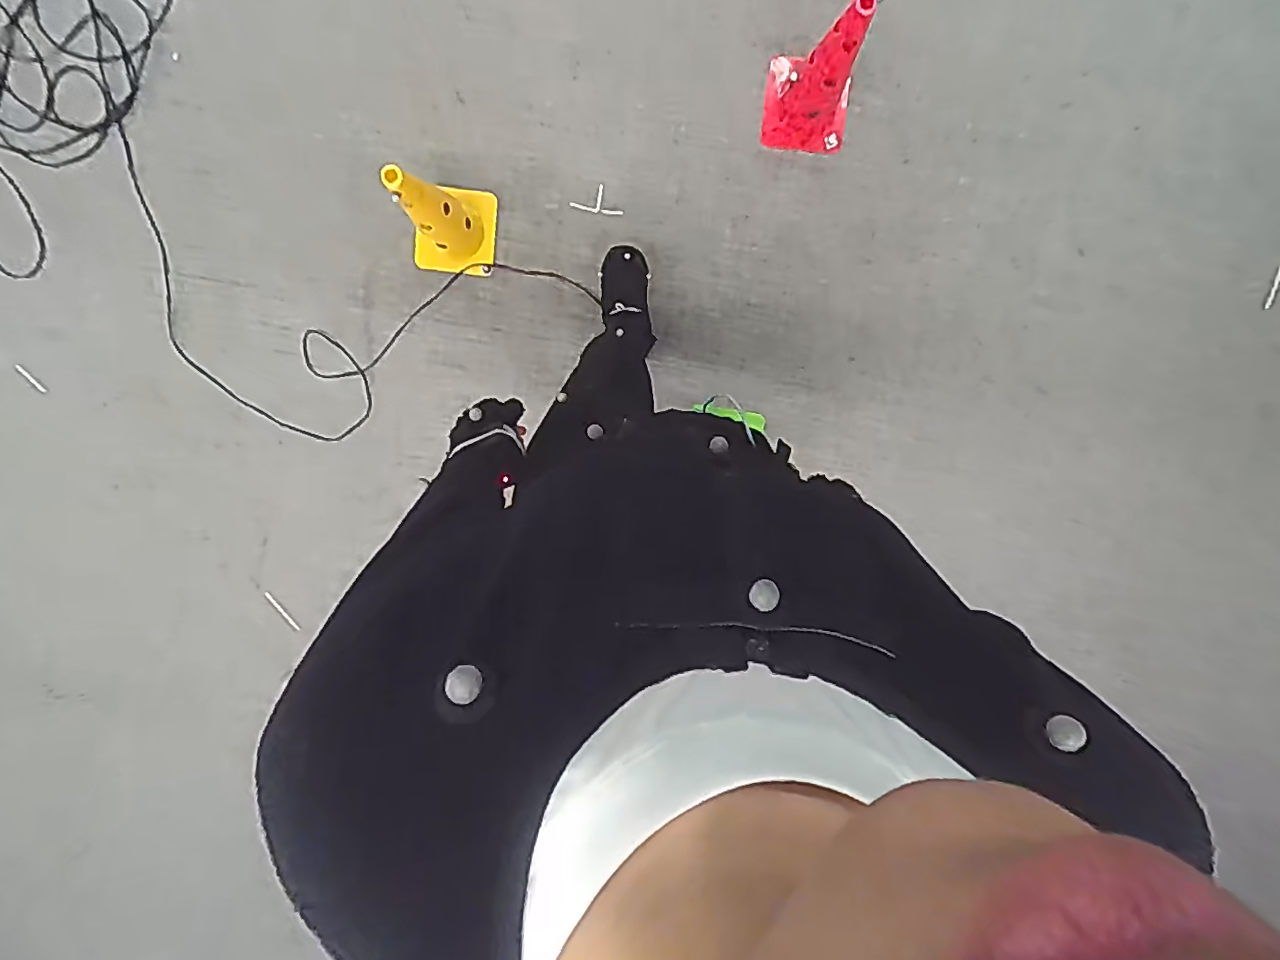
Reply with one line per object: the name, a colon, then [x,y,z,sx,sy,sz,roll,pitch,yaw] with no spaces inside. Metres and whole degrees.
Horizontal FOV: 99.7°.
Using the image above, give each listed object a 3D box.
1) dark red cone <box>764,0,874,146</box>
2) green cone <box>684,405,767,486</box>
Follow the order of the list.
dark red cone: [0.398,-0.878,1.118,0.202,0.394,0.201,4,98,0]
green cone: [0.223,-0.065,1.278,0.202,0.368,0.200,8,99,0]
